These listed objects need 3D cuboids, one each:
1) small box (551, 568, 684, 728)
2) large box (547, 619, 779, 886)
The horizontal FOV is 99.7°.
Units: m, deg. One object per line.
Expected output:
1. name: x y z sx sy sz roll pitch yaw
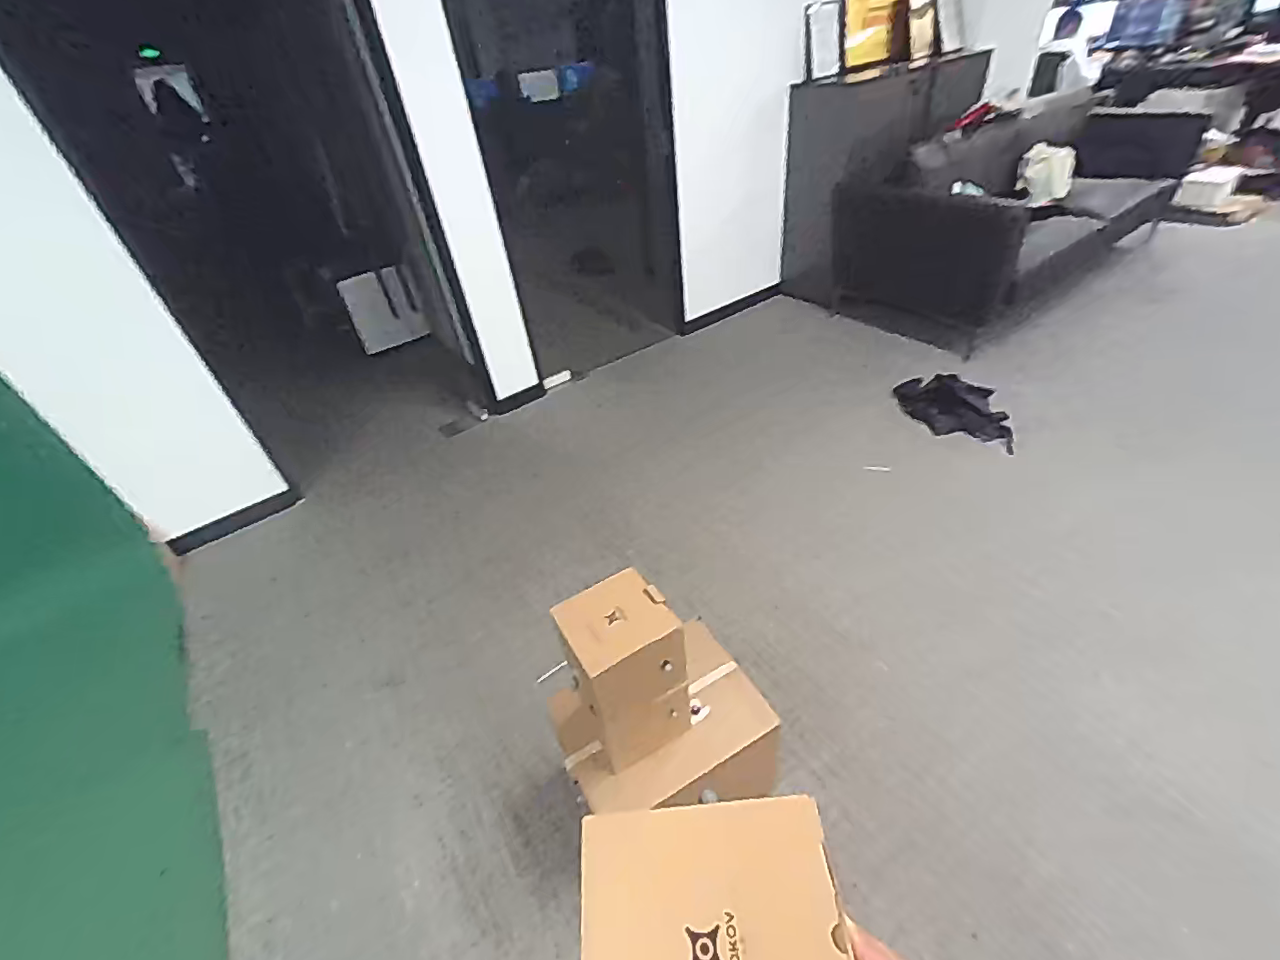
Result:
1. small box: -0.035 0.296 0.963 0.179 0.176 0.168 -26 41 -21
2. large box: 0.054 0.600 1.223 0.408 0.320 0.320 -23 42 -19
